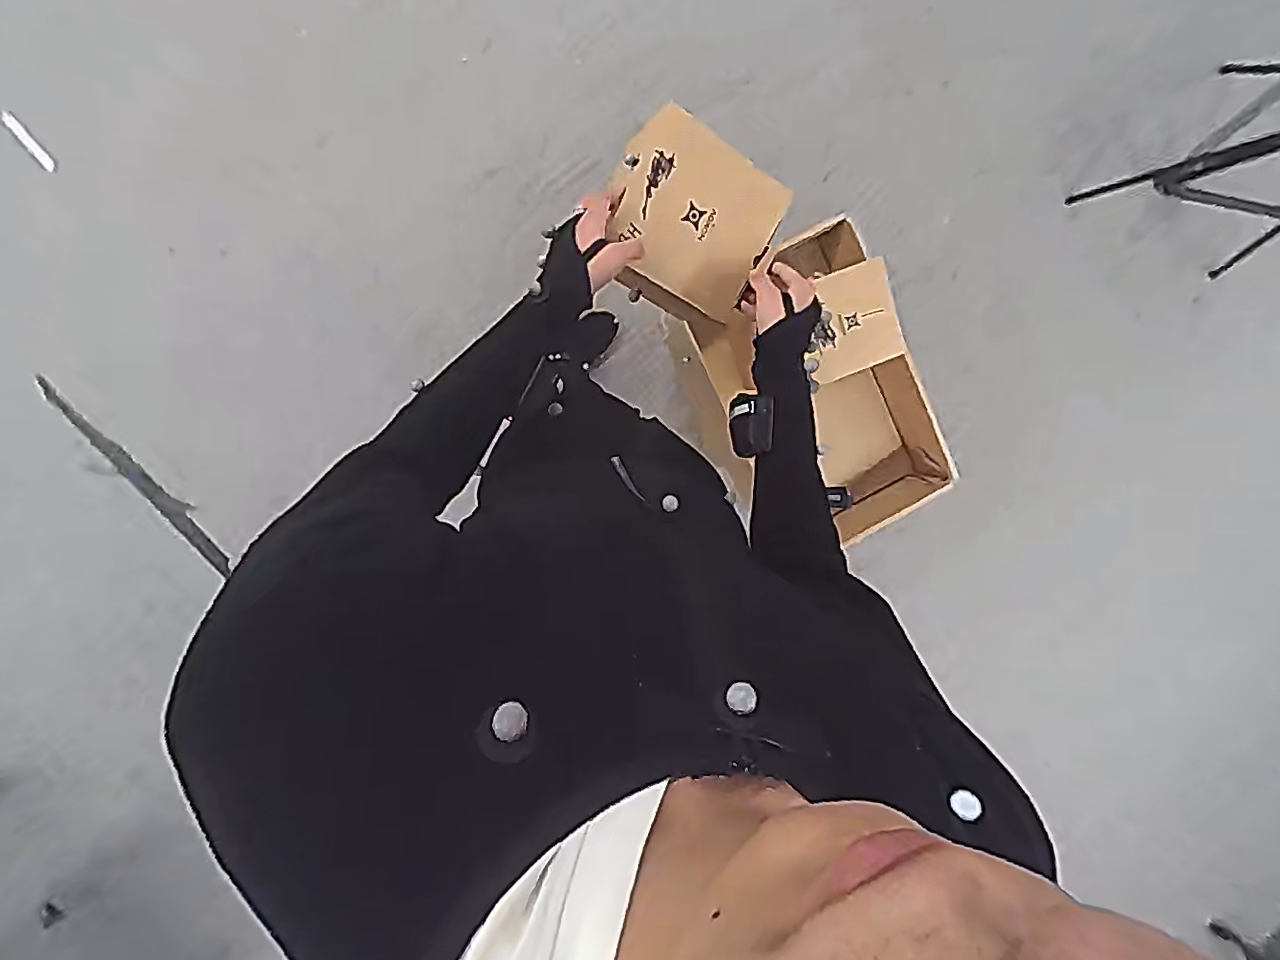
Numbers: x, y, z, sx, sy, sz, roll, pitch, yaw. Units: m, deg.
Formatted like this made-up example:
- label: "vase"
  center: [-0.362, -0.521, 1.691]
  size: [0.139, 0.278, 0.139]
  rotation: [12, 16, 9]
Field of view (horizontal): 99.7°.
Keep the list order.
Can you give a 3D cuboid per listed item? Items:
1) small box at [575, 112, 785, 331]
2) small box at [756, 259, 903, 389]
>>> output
- label: "small box"
  center: [0.039, -0.307, 0.677]
  size: [0.179, 0.176, 0.168]
  rotation: [24, 100, -22]
- label: "small box"
  center: [0.322, -0.264, 0.957]
  size: [0.179, 0.176, 0.168]
  rotation: [-21, 101, -5]
